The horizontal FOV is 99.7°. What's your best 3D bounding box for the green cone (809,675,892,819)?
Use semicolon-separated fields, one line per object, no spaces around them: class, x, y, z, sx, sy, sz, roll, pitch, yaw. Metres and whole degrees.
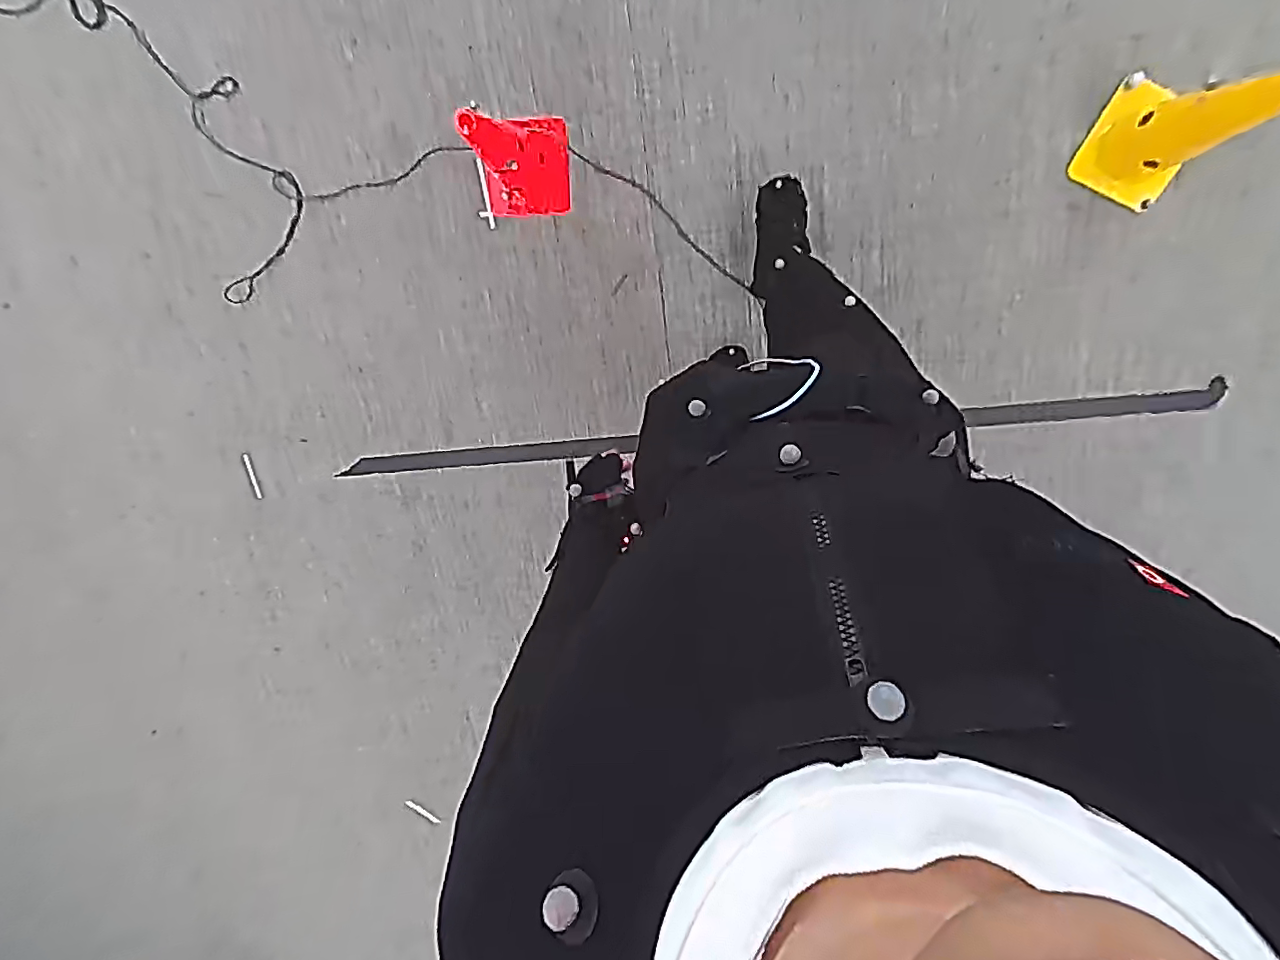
green cone;0.604;0.729;1.449;0.202;0.368;0.200;-20;104;13

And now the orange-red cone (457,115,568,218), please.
orange-red cone;-0.280;-0.665;1.094;0.199;0.360;0.198;2;109;4
